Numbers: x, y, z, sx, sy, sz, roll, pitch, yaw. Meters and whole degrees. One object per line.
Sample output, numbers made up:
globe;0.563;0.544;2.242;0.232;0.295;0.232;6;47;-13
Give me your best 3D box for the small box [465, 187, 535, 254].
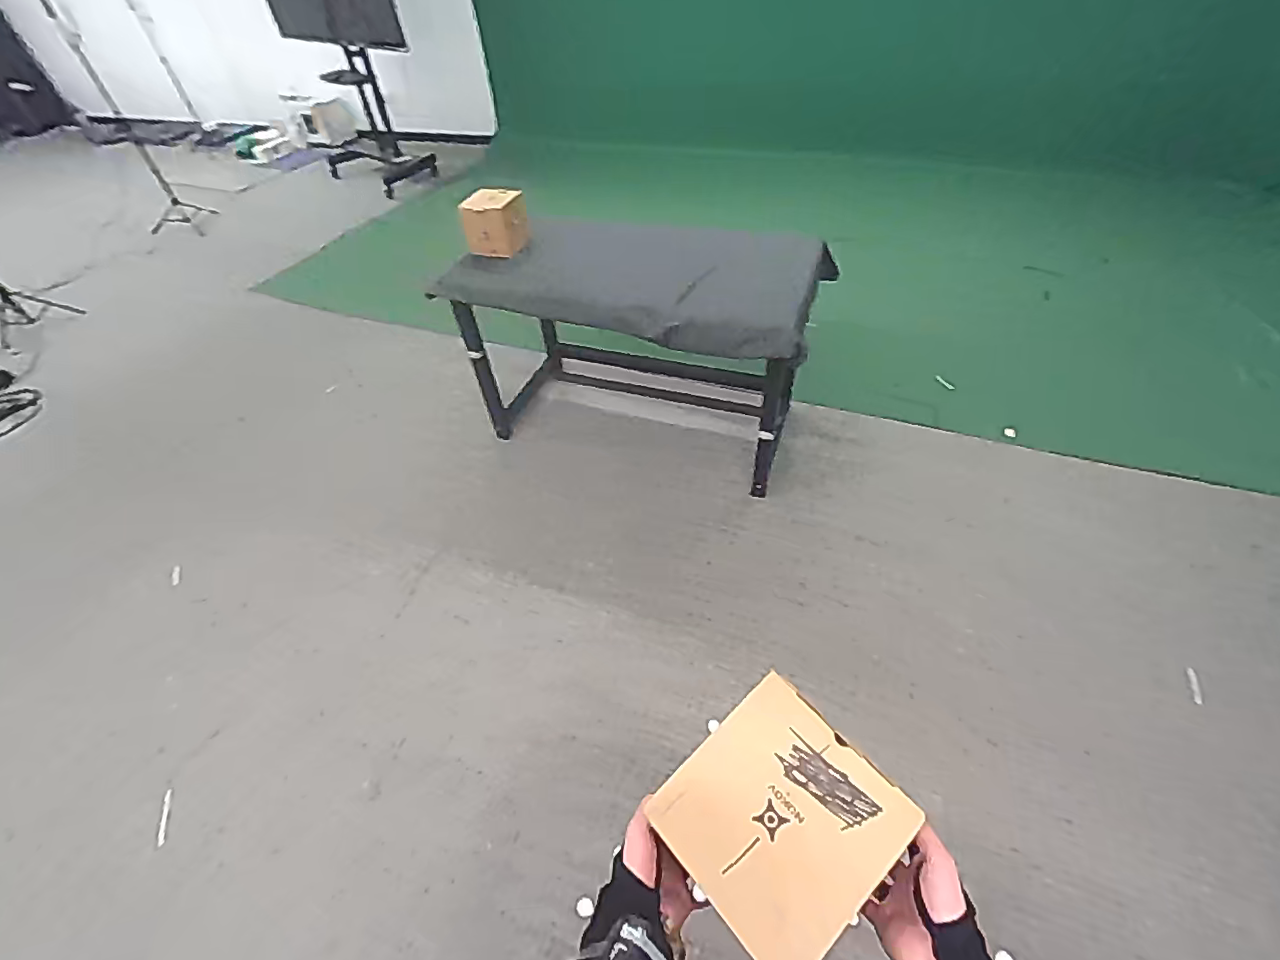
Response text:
small box;-0.493;-0.931;1.946;0.168;0.176;0.179;11;50;14
